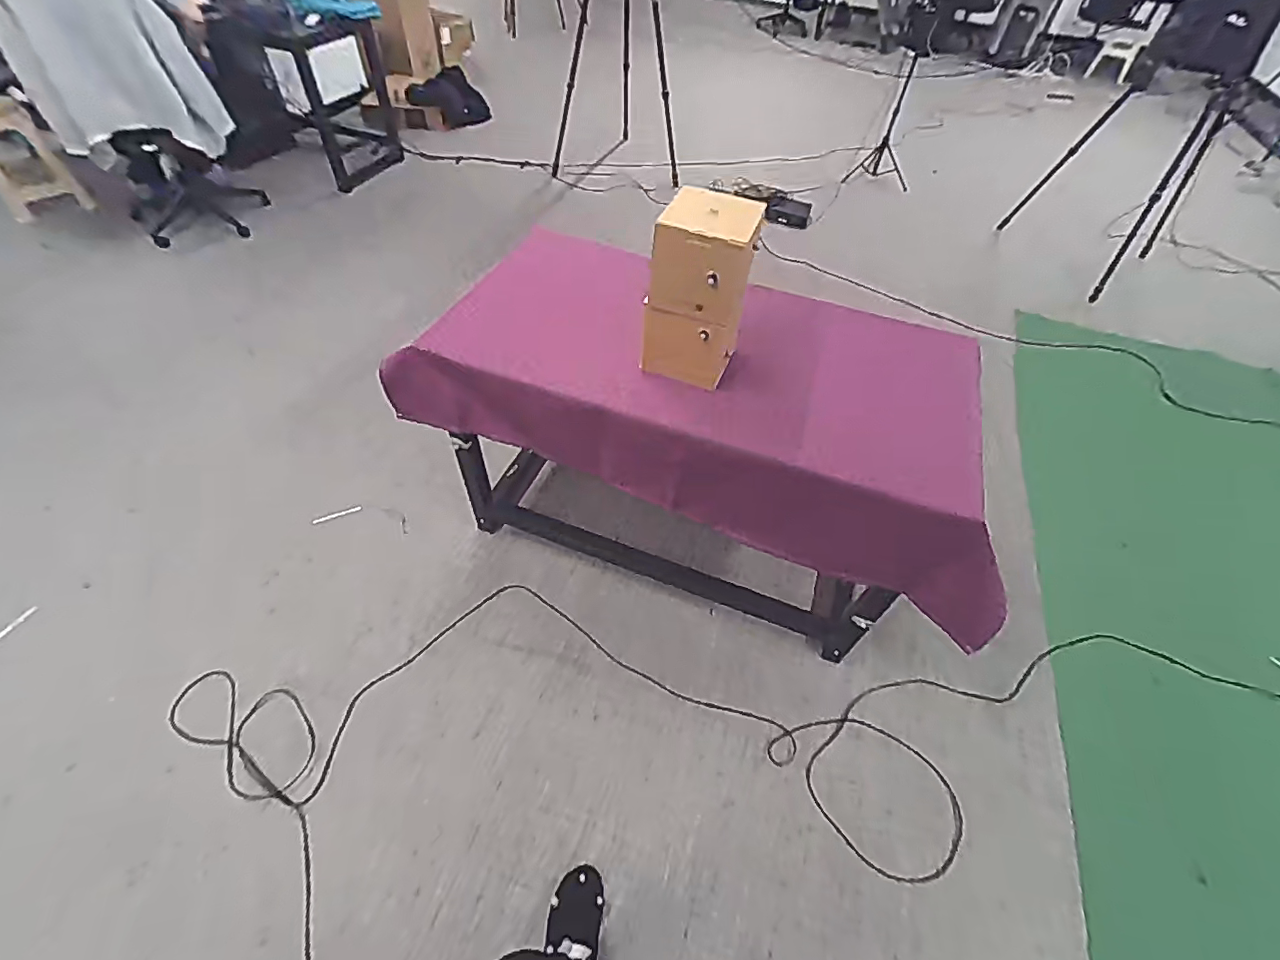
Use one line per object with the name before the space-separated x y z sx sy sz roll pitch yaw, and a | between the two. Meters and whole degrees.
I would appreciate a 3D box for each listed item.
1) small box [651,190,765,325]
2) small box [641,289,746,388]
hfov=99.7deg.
small box | 0.125 -0.425 1.041 0.168 0.176 0.179 19 50 10
small box | 0.110 -0.323 1.166 0.179 0.176 0.168 19 51 11
